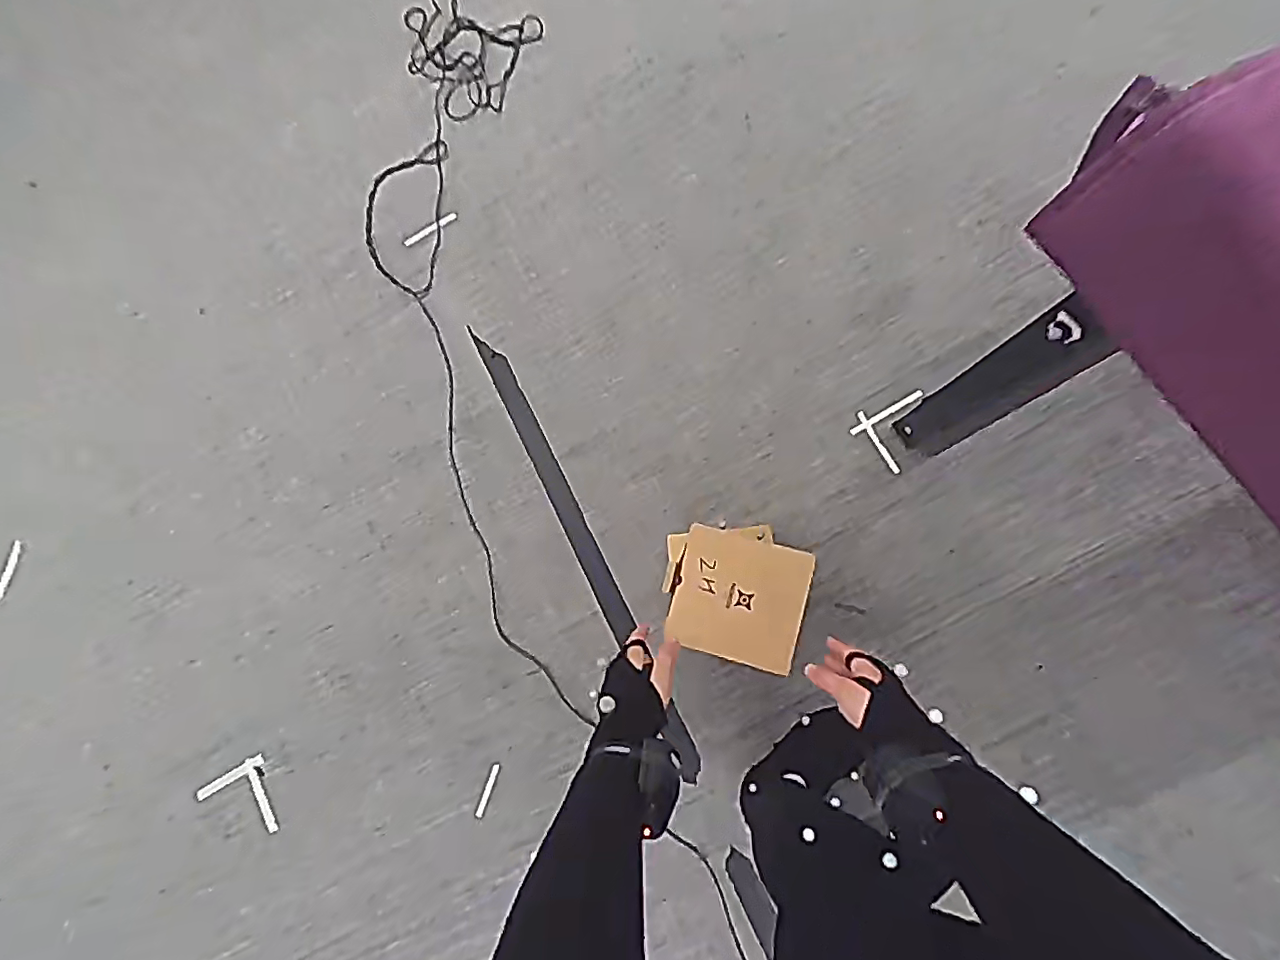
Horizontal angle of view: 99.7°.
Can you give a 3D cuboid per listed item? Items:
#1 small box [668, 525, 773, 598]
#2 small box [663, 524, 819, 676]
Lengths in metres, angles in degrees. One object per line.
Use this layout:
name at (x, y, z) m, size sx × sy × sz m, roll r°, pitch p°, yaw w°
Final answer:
small box at (0.152, 0.175, 0.970) m, size 0.179 × 0.176 × 0.168 m, roll -7°, pitch 82°, yaw 8°
small box at (0.146, 0.168, 0.803) m, size 0.179 × 0.176 × 0.168 m, roll 14°, pitch 85°, yaw 10°
